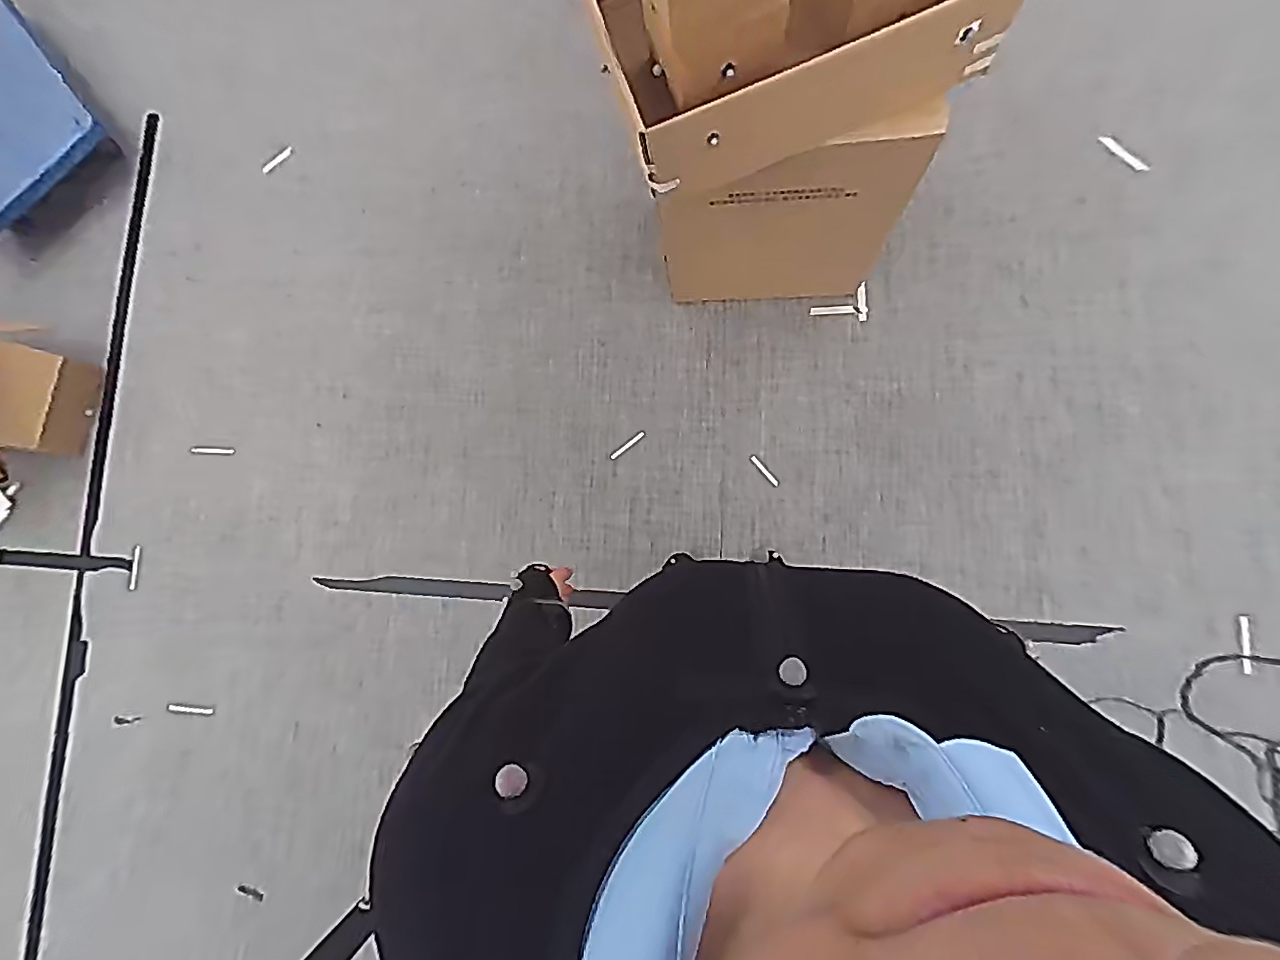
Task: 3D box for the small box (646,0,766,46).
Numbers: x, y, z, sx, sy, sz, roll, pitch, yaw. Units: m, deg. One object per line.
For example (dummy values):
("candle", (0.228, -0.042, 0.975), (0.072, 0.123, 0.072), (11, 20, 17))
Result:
("small box", (0.084, -0.740, 0.713), (0.179, 0.176, 0.168), (-24, 82, 5))
